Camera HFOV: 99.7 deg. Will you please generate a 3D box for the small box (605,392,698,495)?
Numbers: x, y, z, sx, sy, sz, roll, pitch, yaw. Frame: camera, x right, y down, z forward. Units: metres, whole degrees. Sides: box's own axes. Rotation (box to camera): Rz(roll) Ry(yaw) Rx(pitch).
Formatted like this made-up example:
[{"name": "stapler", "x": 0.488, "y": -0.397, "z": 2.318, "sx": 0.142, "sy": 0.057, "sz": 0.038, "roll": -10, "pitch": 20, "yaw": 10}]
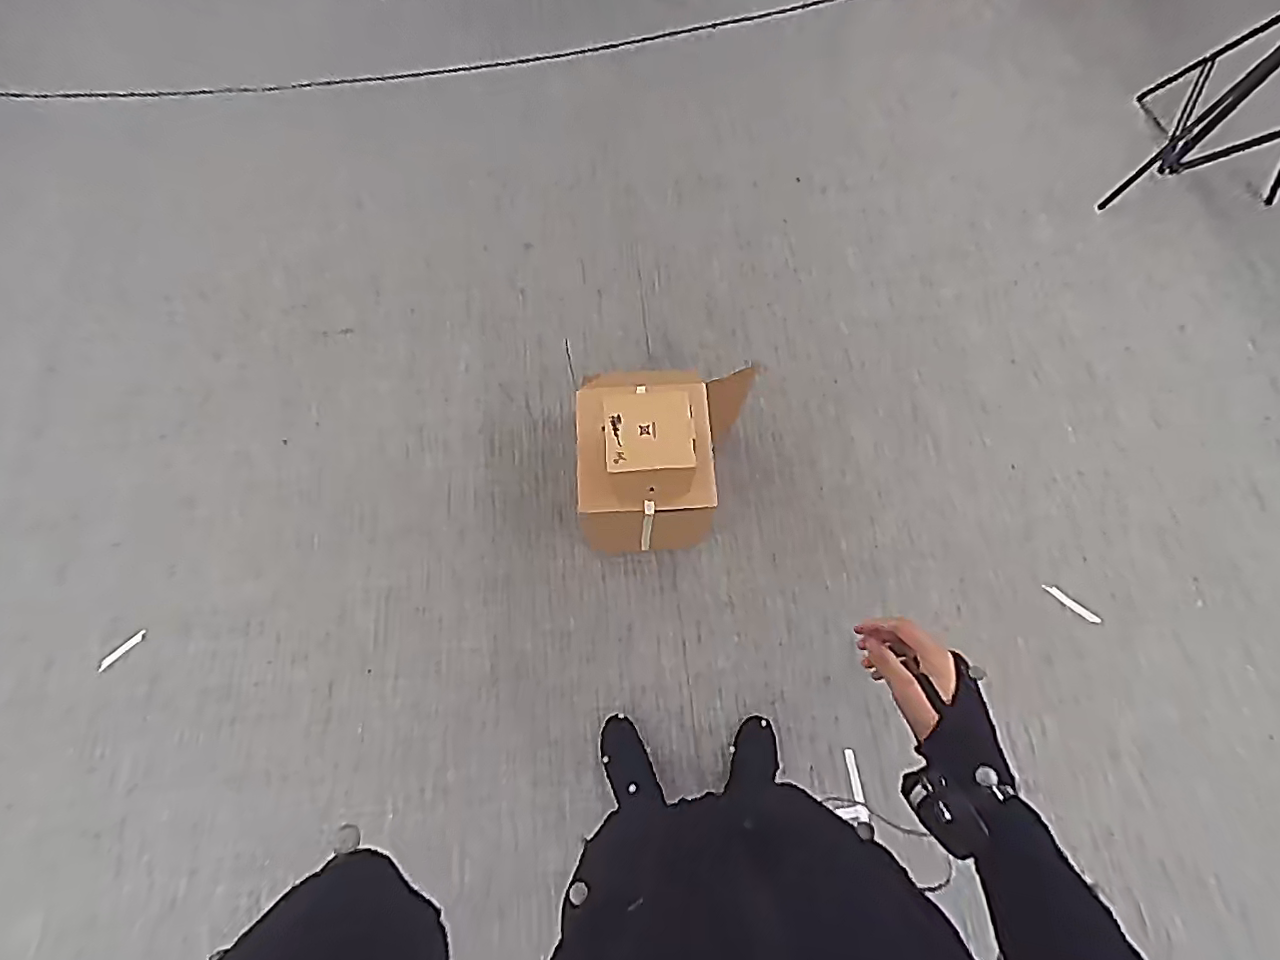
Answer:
[{"name": "small box", "x": 0.020, "y": -0.071, "z": 1.128, "sx": 0.179, "sy": 0.176, "sz": 0.168, "roll": -3, "pitch": 72, "yaw": -1}]
